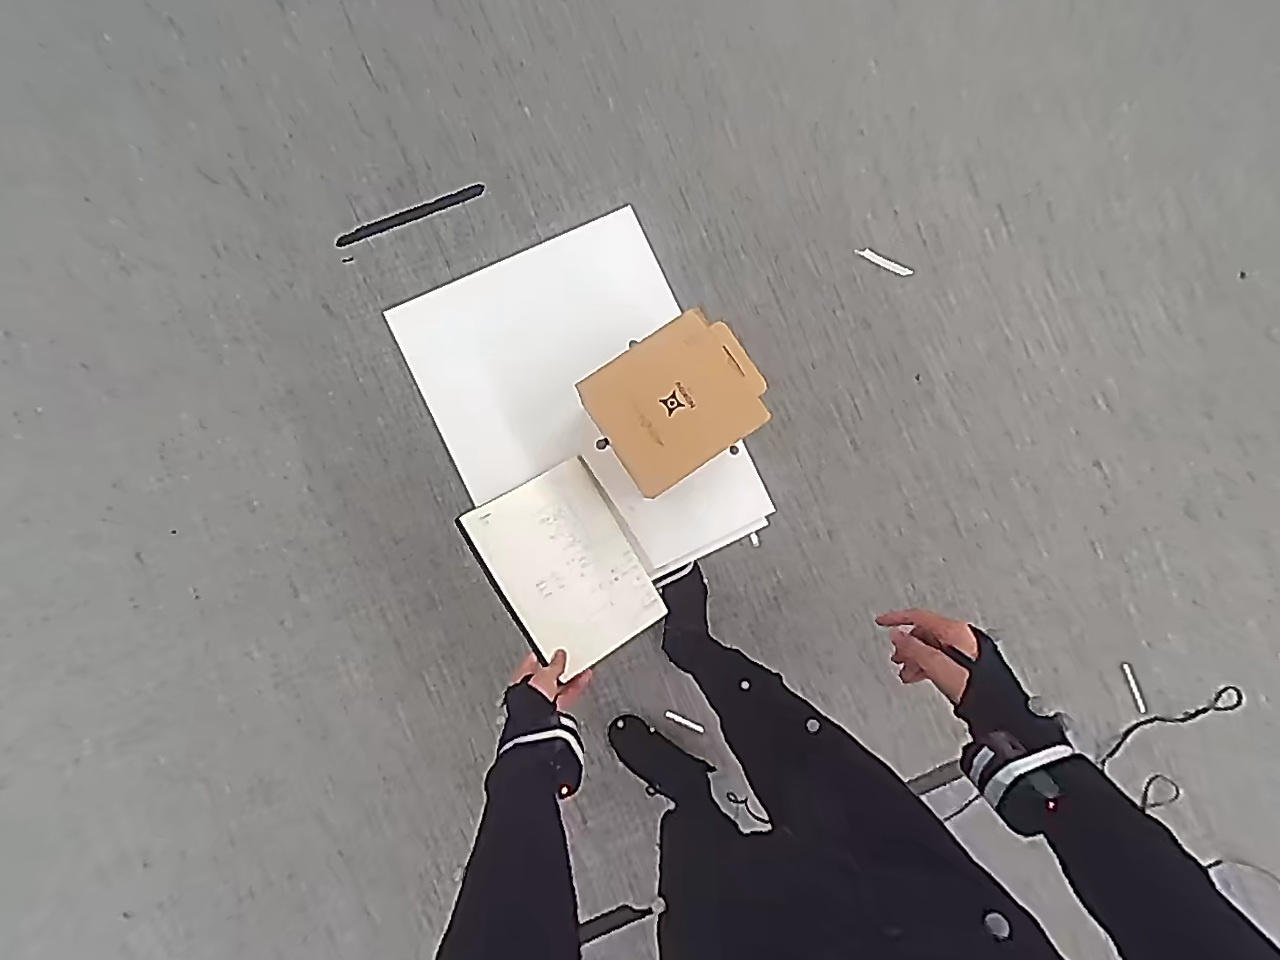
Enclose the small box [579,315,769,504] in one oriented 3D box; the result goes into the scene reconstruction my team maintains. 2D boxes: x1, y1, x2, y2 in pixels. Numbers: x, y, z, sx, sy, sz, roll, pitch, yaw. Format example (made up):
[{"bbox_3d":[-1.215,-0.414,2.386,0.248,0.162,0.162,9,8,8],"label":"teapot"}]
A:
[{"bbox_3d":[0.036,-0.083,0.721,0.179,0.176,0.168,-34,90,-3],"label":"small box"}]
